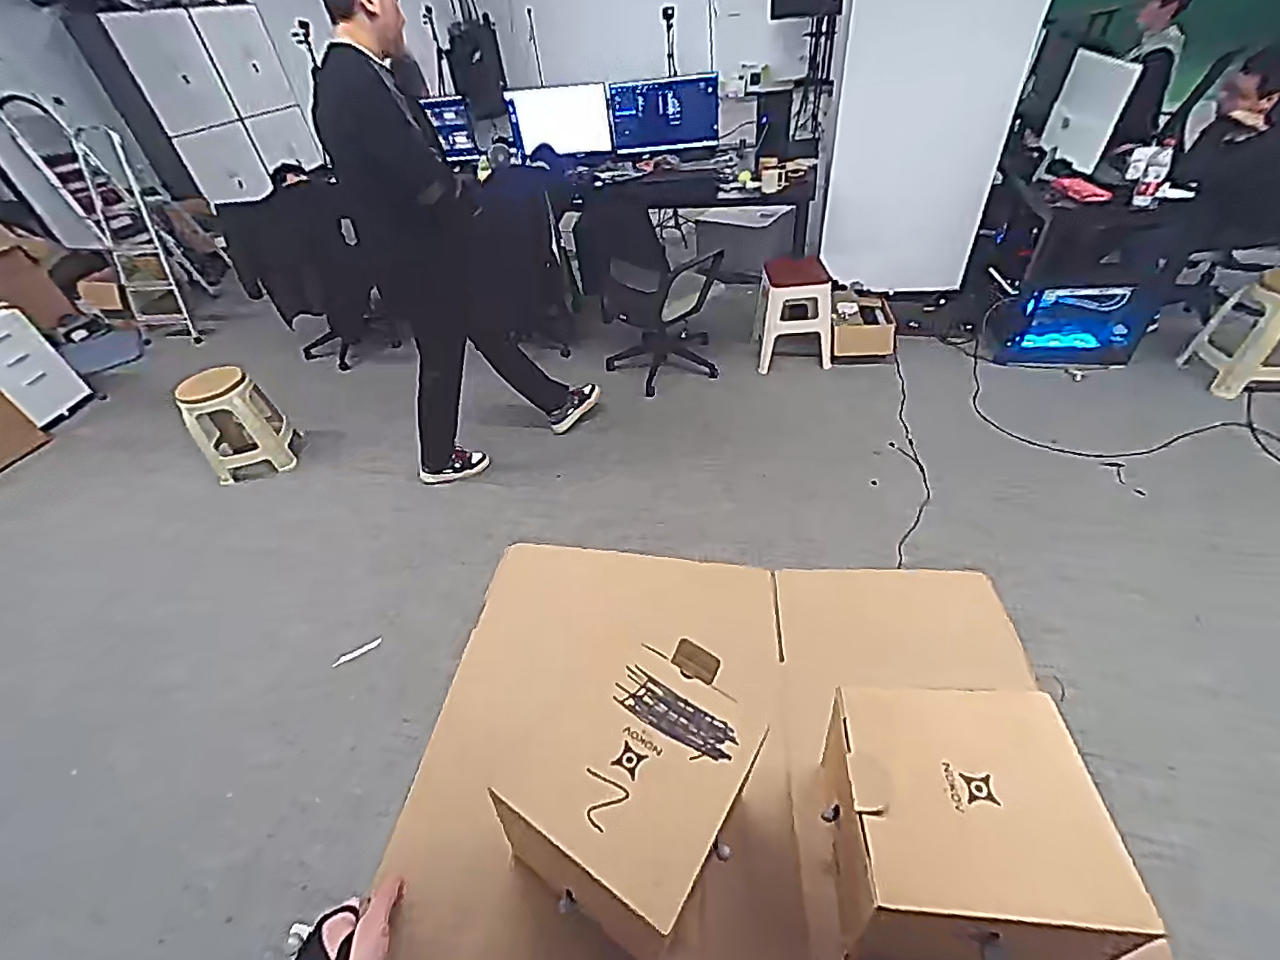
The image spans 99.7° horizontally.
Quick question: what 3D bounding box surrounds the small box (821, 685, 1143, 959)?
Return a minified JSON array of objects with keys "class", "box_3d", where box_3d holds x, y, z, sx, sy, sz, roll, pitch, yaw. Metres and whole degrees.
[{"class":"small box","box_3d":[0.268,0.305,0.481,0.179,0.176,0.168,-2,39,10]}]
